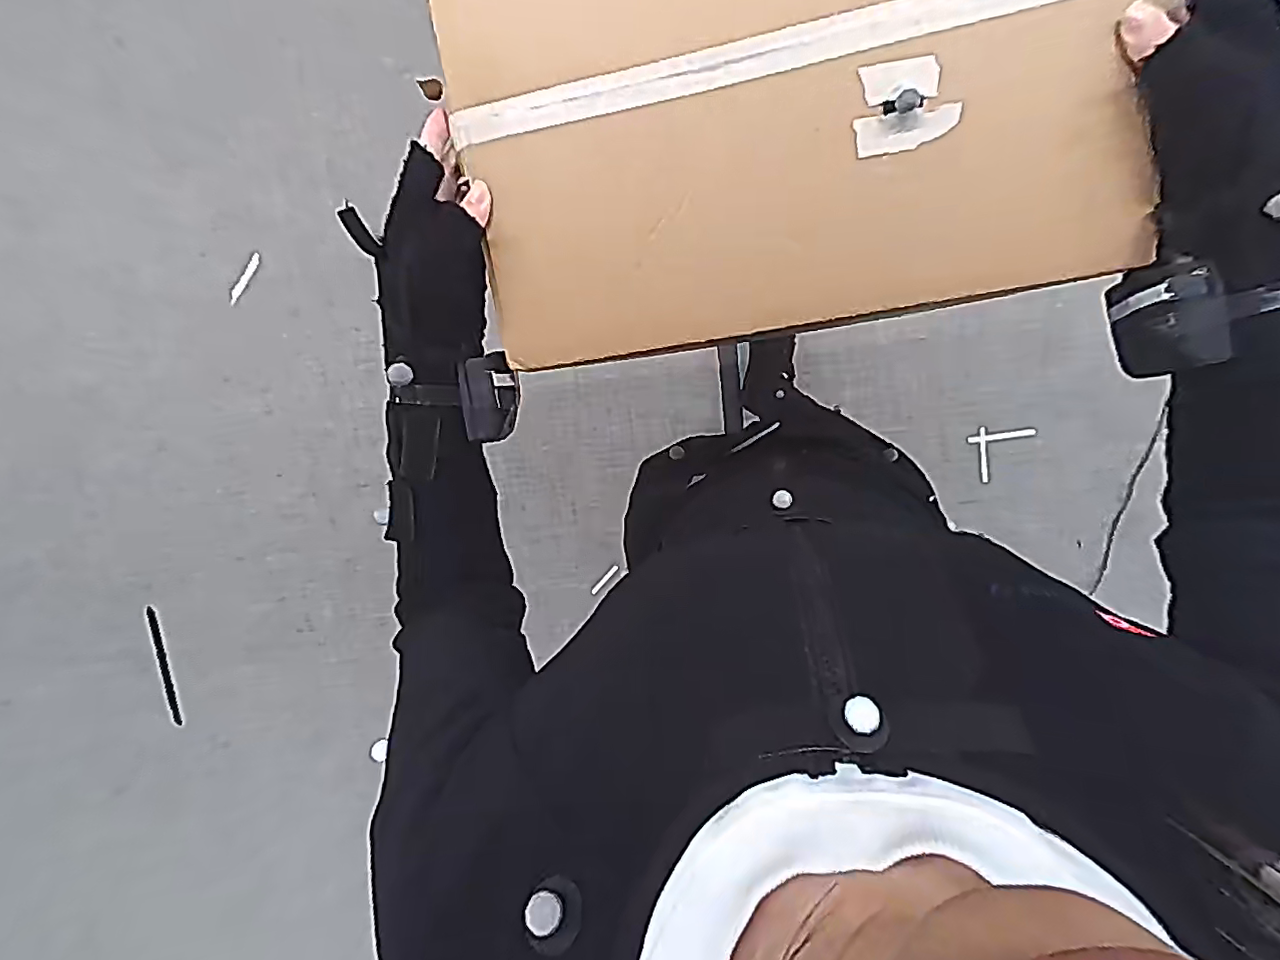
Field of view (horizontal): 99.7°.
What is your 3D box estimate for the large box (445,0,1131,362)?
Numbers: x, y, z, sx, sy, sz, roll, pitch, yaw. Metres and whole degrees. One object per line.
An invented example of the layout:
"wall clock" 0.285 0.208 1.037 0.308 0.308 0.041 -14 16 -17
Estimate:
"large box" 0.097 -0.294 0.478 0.408 0.320 0.320 -8 103 7
